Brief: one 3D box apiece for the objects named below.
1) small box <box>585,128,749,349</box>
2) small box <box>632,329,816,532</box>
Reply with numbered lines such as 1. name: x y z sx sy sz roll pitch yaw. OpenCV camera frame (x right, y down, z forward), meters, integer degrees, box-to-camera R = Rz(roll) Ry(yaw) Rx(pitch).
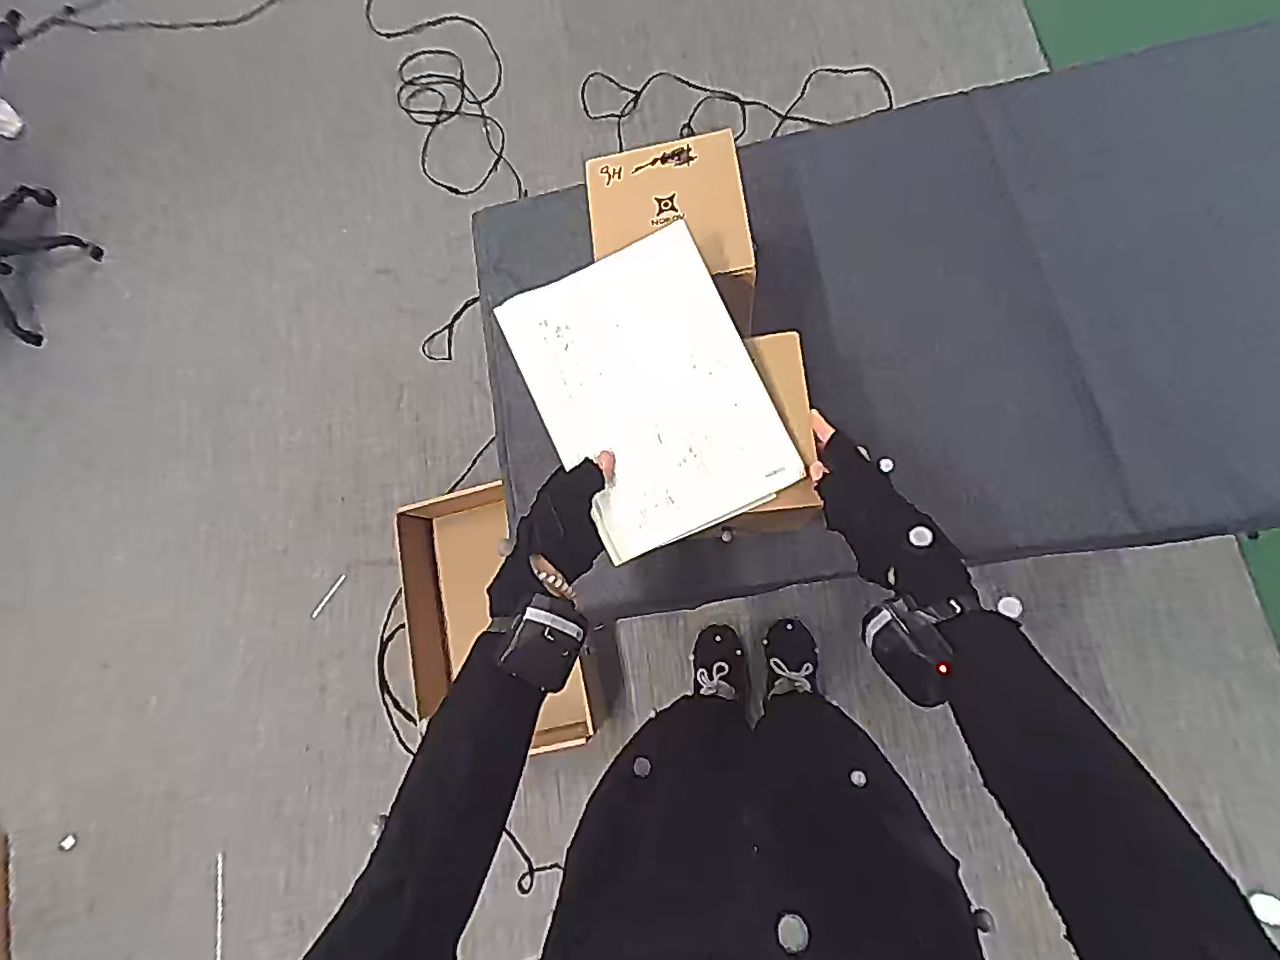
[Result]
1. small box: 0.039 -0.269 0.652 0.168 0.176 0.179 -8 78 8
2. small box: 0.090 -0.039 0.592 0.168 0.176 0.179 -5 77 9
